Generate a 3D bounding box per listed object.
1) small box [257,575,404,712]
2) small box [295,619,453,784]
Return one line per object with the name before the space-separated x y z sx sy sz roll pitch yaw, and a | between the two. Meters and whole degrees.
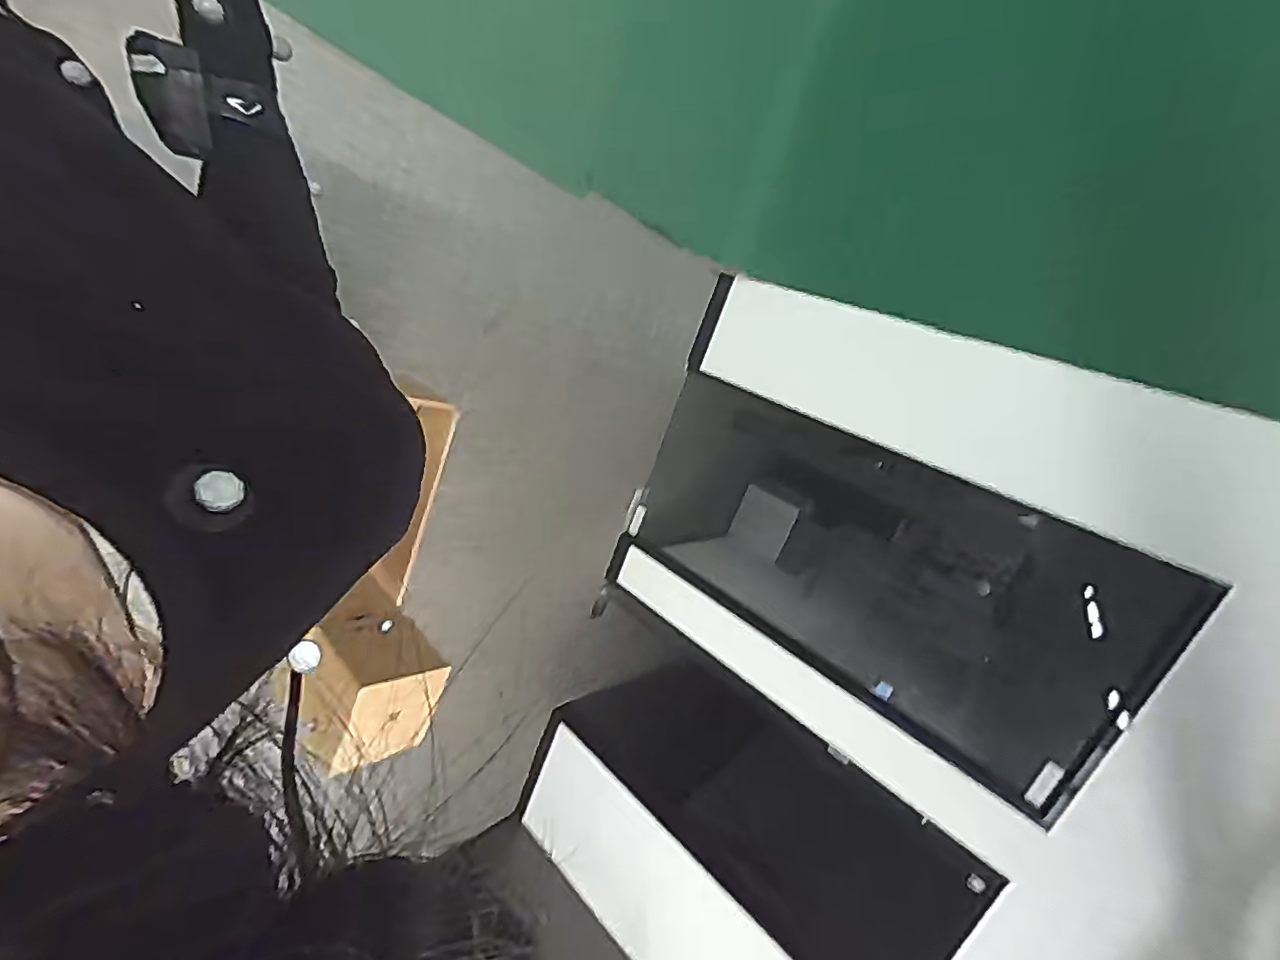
small box | -0.576 0.287 1.002 0.168 0.176 0.179 9 109 -54
small box | -0.457 0.364 0.921 0.168 0.176 0.179 8 109 -55
